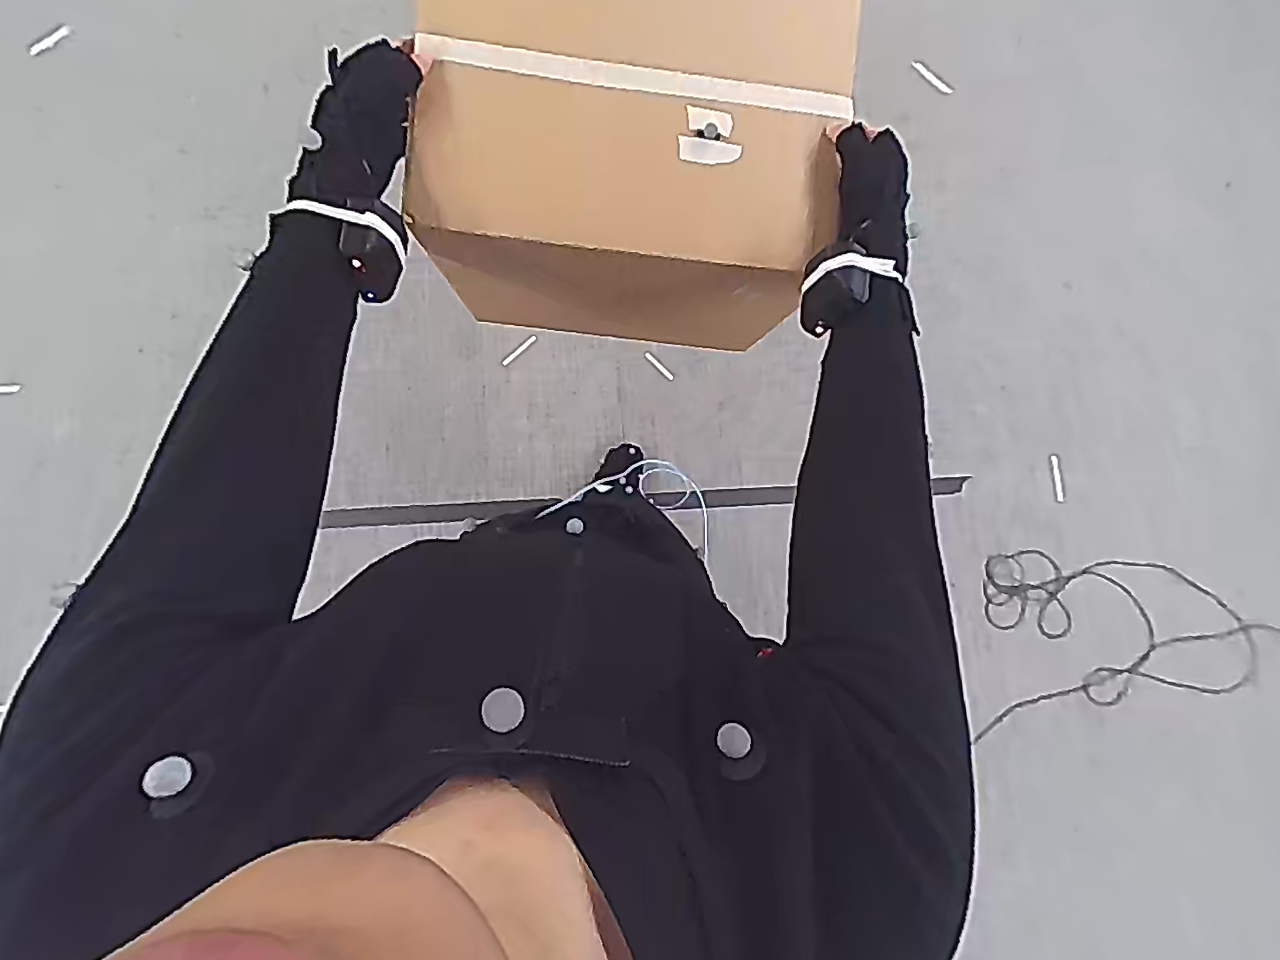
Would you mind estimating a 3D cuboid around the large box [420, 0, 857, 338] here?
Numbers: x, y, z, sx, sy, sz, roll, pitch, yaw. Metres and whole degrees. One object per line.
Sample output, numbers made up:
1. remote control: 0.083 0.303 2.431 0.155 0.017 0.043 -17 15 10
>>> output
1. large box: -0.009 -0.379 0.657 0.408 0.320 0.320 5 91 -6
